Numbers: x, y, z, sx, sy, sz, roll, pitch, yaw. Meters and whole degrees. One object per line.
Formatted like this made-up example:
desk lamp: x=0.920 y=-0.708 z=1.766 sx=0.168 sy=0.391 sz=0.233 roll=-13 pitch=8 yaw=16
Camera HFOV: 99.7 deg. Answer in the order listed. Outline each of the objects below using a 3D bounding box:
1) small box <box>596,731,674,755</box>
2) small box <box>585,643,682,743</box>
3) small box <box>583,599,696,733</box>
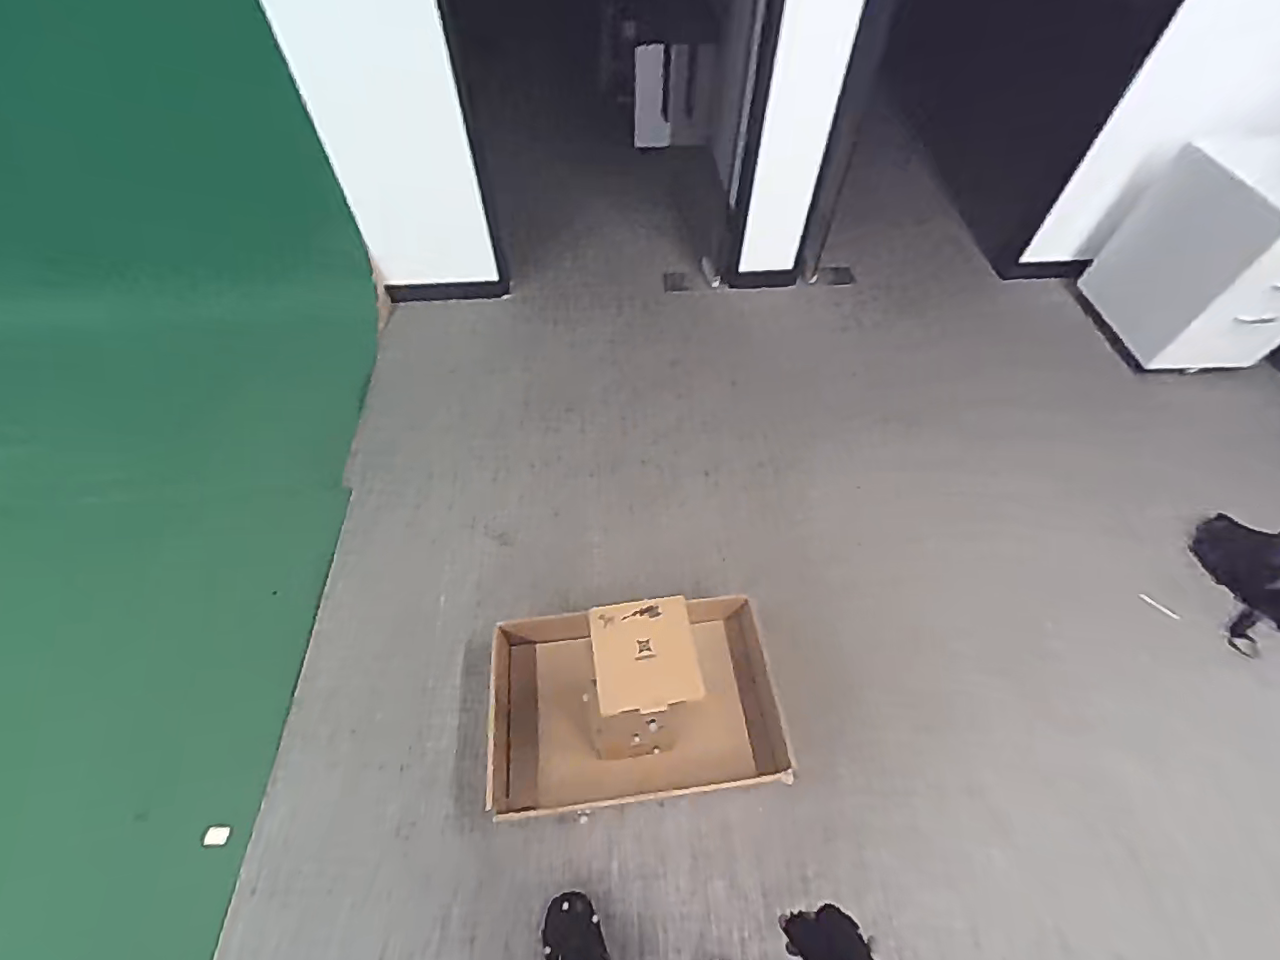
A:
small box: x=-0.021 y=0.506 z=1.215 sx=0.168 sy=0.176 sz=0.179 roll=-5 pitch=53 yaw=-6
small box: x=-0.017 y=0.424 z=1.092 sx=0.179 sy=0.176 sz=0.168 roll=-5 pitch=54 yaw=-4
small box: x=-0.003 y=0.335 z=0.958 sx=0.168 sy=0.176 sz=0.179 roll=-9 pitch=55 yaw=-7
